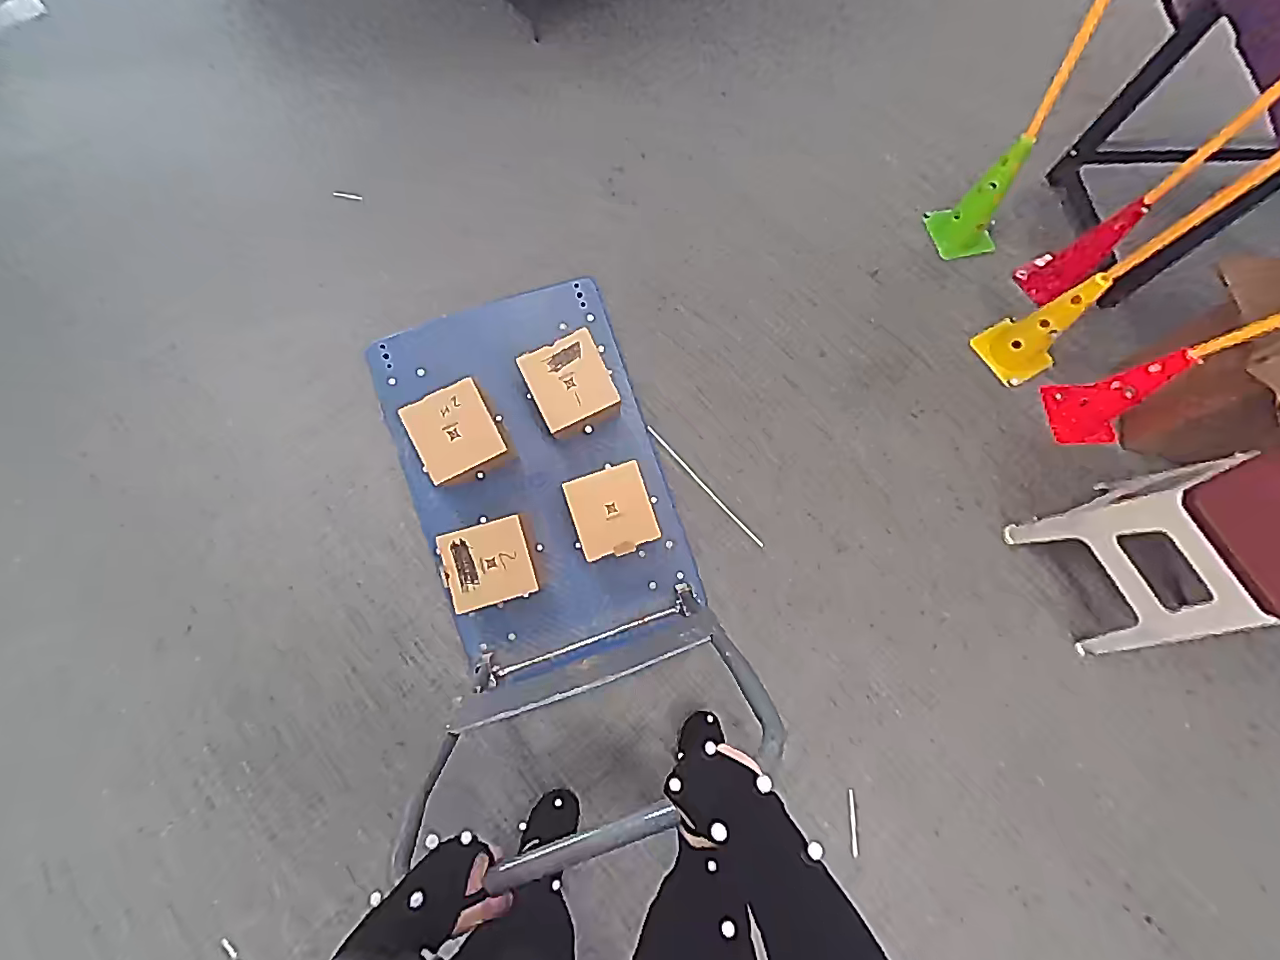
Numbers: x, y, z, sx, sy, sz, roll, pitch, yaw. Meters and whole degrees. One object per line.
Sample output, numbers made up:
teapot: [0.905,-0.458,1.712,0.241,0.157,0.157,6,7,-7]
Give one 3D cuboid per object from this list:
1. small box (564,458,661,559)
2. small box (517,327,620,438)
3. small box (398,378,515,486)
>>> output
small box: [-0.065,0.063,1.207,0.168,0.176,0.179,-19,89,-4]
small box: [-0.156,-0.209,1.211,0.168,0.176,0.179,-26,90,-4]
small box: [-0.391,-0.098,1.190,0.168,0.176,0.179,-27,90,-5]
